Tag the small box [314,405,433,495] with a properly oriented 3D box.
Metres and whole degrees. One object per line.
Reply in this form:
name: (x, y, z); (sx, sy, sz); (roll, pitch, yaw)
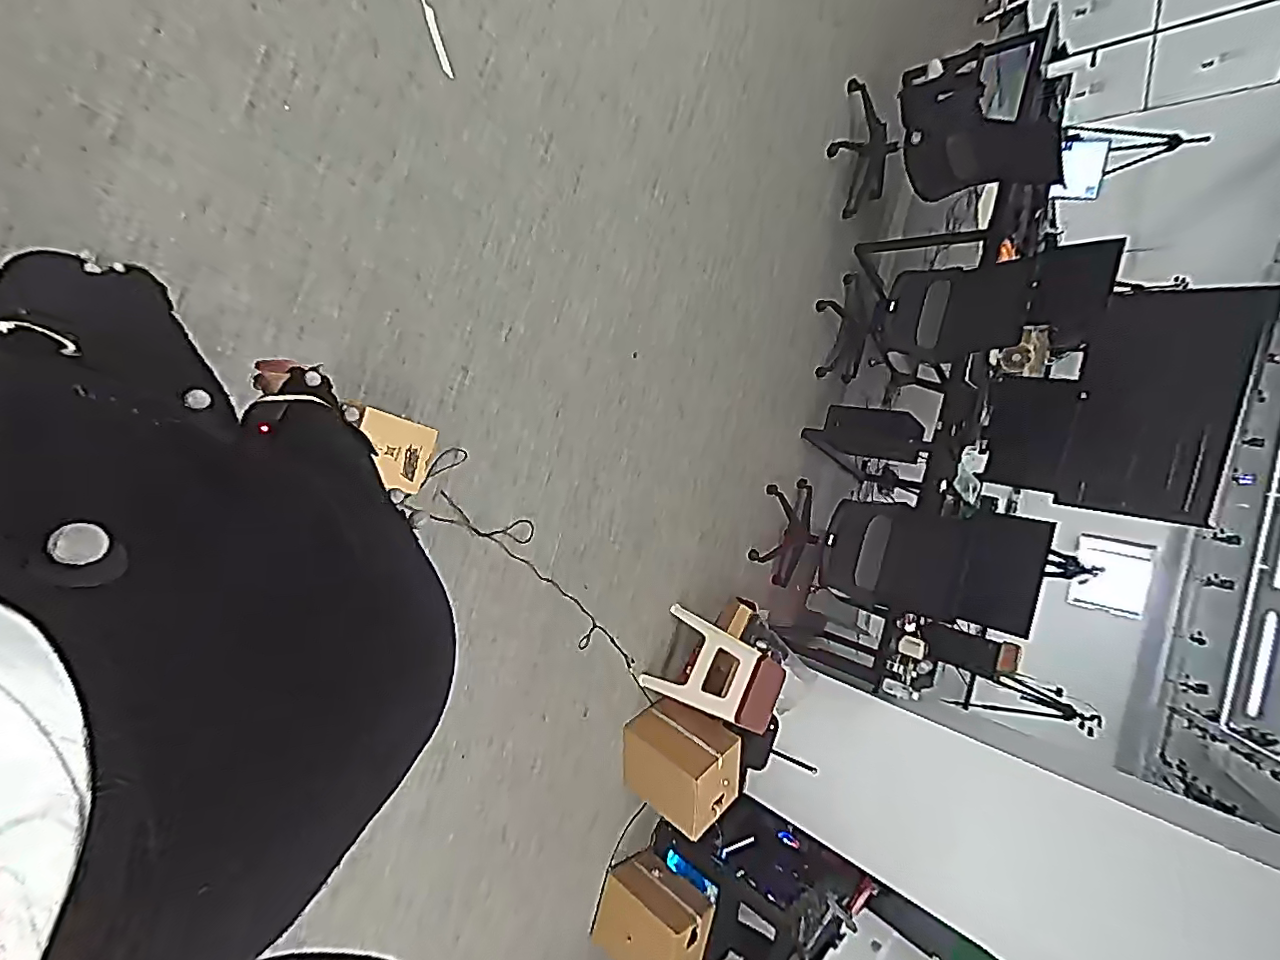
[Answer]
small box: (-0.632, -0.074, 1.282); (0.179, 0.176, 0.168); (22, 82, -48)
